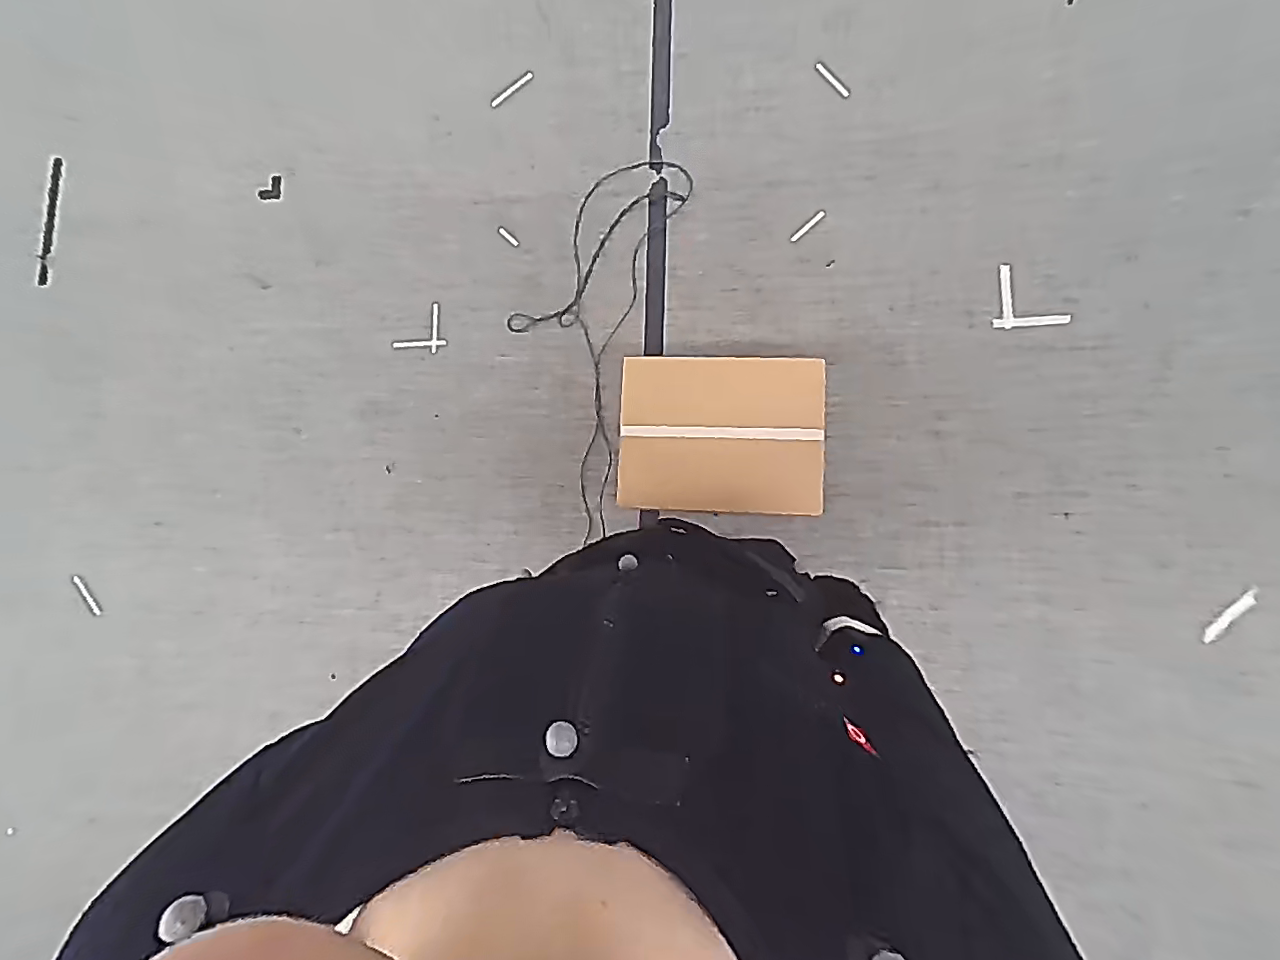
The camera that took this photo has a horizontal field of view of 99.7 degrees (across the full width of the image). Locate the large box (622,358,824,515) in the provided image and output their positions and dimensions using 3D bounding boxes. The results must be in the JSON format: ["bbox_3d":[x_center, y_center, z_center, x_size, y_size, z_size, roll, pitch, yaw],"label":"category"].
[{"bbox_3d":[0.179,-0.082,1.235,0.408,0.320,0.320,2,87,7],"label":"large box"}]
